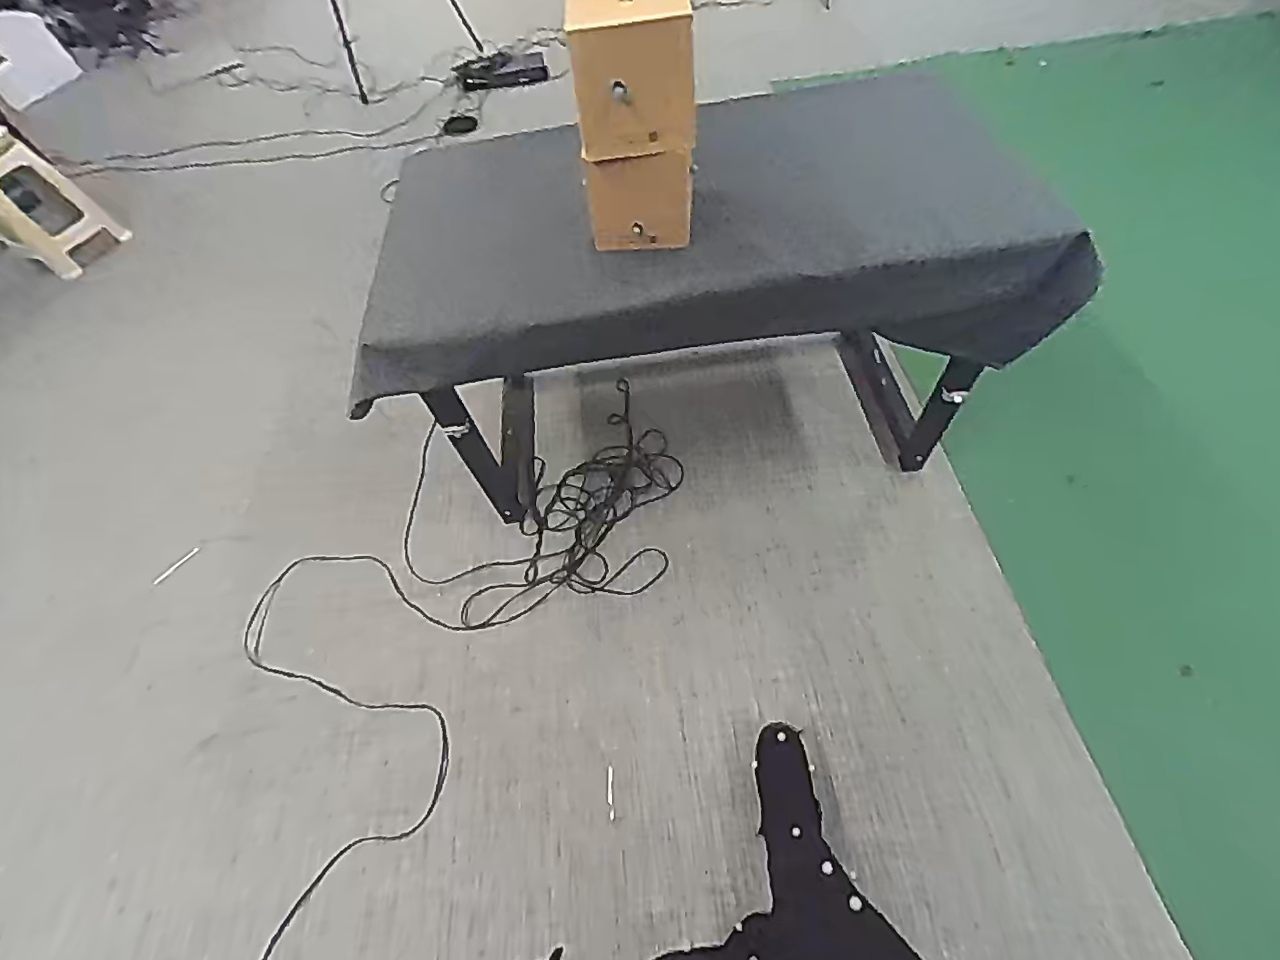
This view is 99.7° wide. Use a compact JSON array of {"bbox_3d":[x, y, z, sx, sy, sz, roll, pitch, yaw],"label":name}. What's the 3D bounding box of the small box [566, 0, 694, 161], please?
[{"bbox_3d":[-0.010,-0.595,0.797,0.168,0.176,0.179,-6,57,3],"label":"small box"}]
